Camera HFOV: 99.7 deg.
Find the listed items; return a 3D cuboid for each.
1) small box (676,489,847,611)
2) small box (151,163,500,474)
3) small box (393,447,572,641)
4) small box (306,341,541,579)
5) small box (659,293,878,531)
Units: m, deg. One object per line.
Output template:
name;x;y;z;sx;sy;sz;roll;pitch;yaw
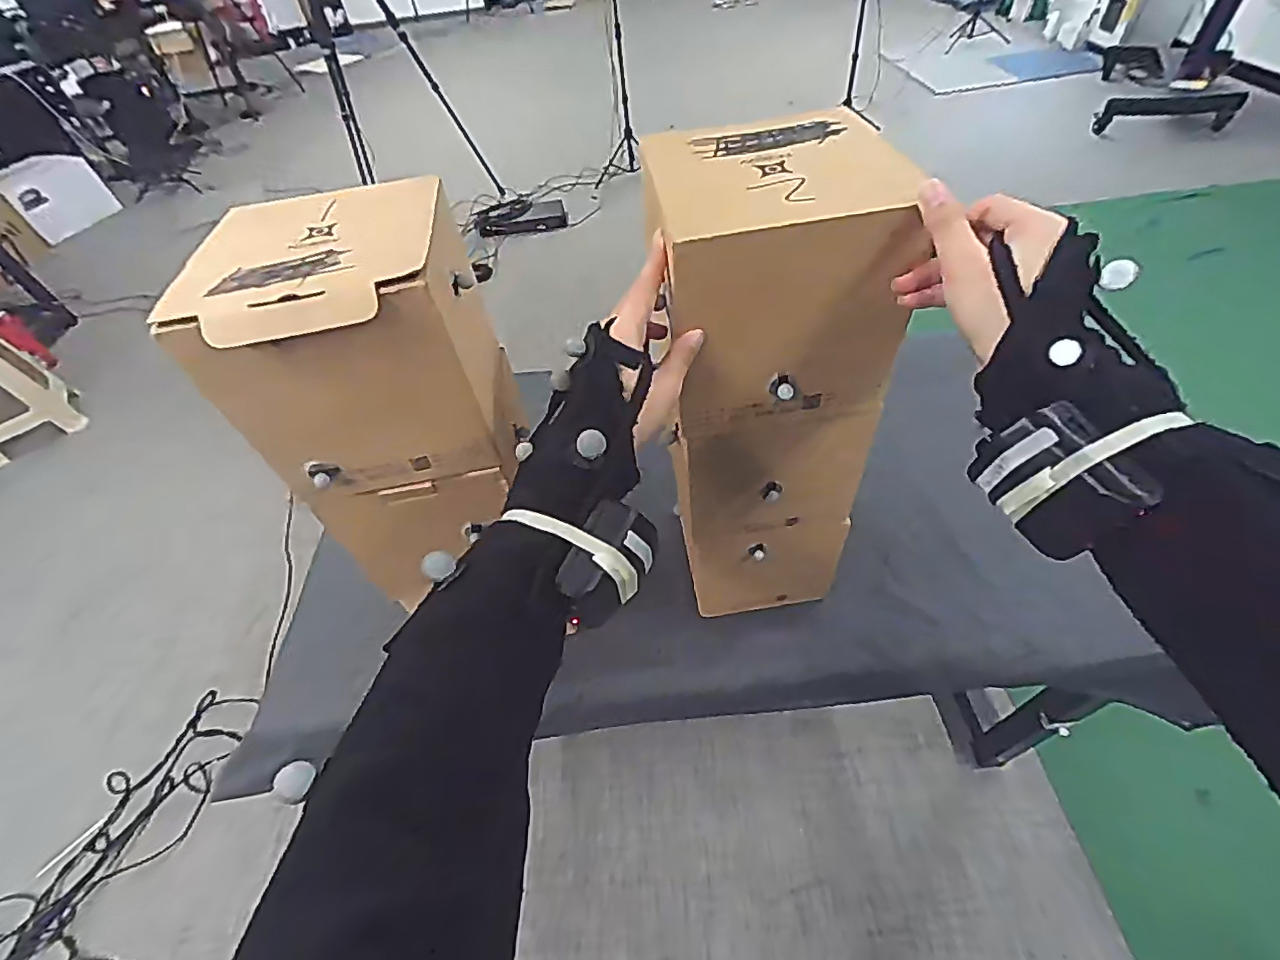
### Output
small box;0.137;0.042;0.684;0.168;0.176;0.179;-9;49;0
small box;-0.214;-0.121;0.432;0.168;0.176;0.179;-11;49;-4
small box;-0.184;0.087;0.682;0.168;0.176;0.179;-10;50;-1
small box;-0.200;-0.014;0.557;0.168;0.176;0.179;-10;48;-3
small box;0.115;-0.062;0.556;0.168;0.176;0.179;-8;50;-1
